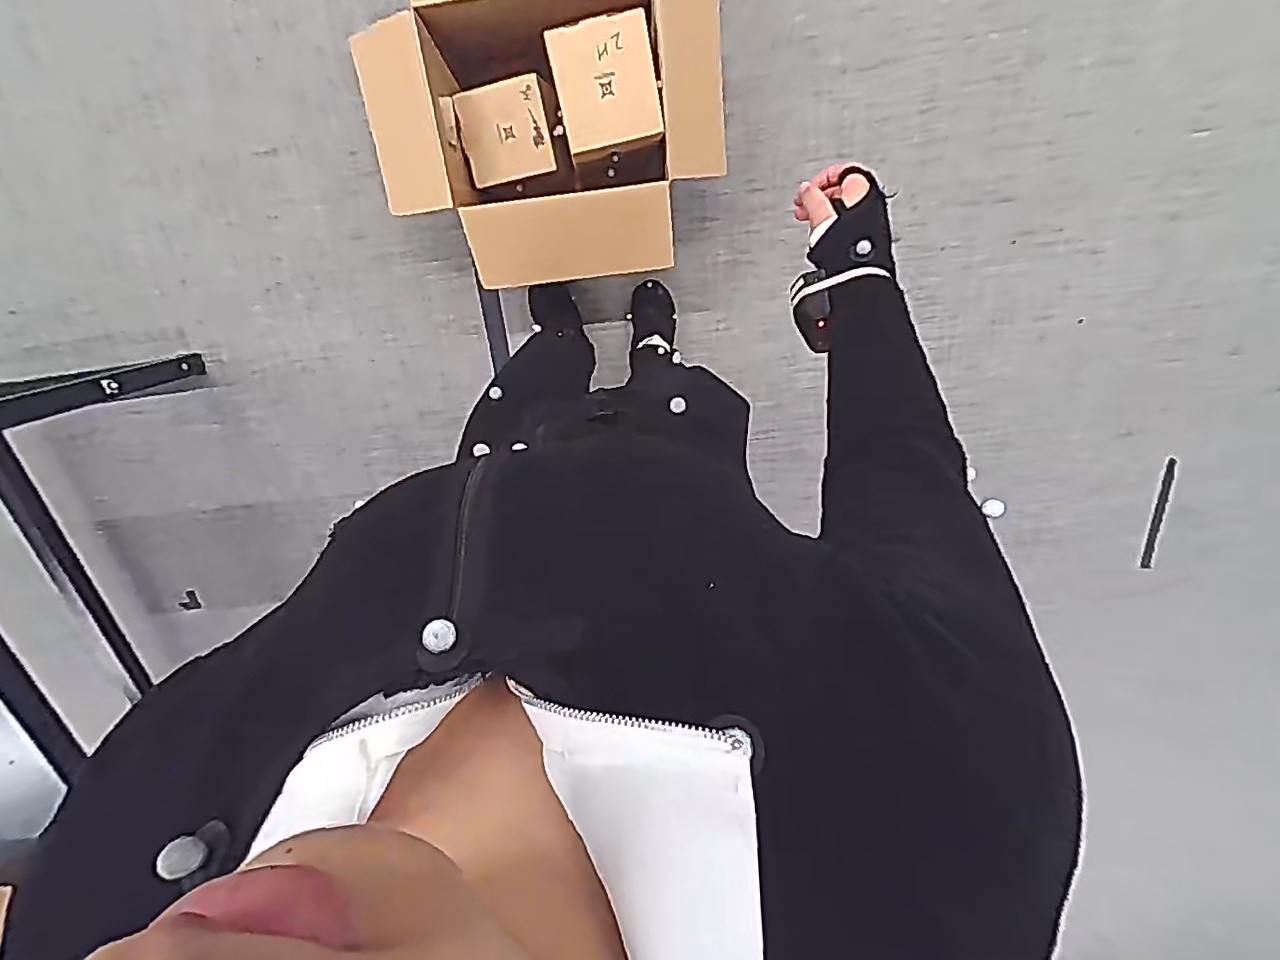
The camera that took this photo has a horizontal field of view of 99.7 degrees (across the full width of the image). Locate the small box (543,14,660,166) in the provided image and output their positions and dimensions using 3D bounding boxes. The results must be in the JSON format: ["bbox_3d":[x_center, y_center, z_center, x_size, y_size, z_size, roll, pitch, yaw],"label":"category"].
[{"bbox_3d":[-0.063,-0.679,0.966,0.168,0.176,0.179,-13,113,1],"label":"small box"}]
